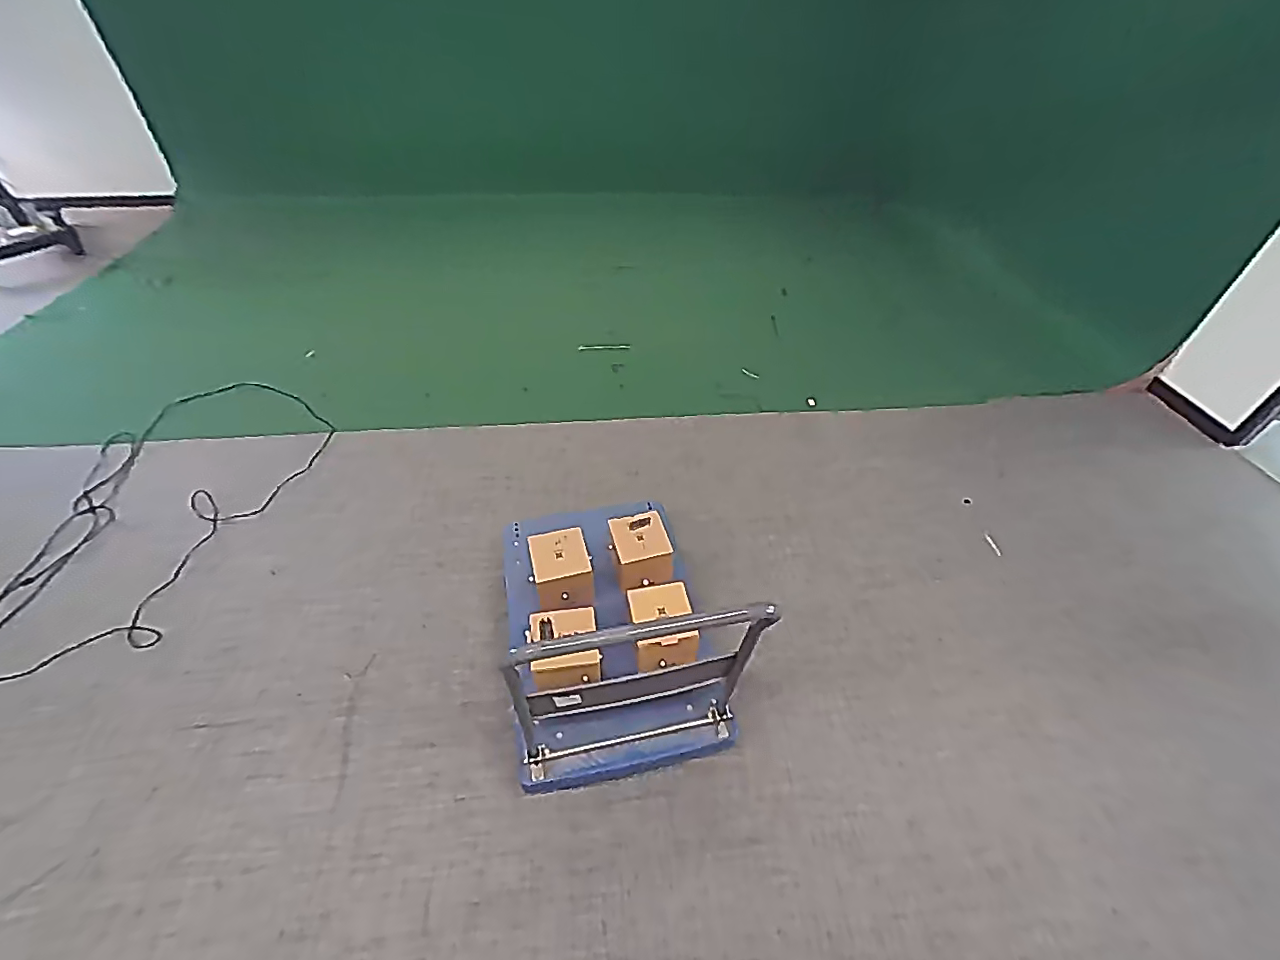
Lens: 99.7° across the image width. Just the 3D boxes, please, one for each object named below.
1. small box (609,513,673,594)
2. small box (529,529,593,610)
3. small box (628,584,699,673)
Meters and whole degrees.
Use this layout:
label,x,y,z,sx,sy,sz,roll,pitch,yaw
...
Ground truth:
label,x,y,z,sx,sy,sz,roll,pitch,yaw
small box,-0.001,0.236,1.735,0.168,0.176,0.179,-11,48,-11
small box,-0.242,0.284,1.681,0.168,0.176,0.179,-10,46,-13
small box,0.059,0.426,1.552,0.168,0.176,0.179,-8,46,-9
